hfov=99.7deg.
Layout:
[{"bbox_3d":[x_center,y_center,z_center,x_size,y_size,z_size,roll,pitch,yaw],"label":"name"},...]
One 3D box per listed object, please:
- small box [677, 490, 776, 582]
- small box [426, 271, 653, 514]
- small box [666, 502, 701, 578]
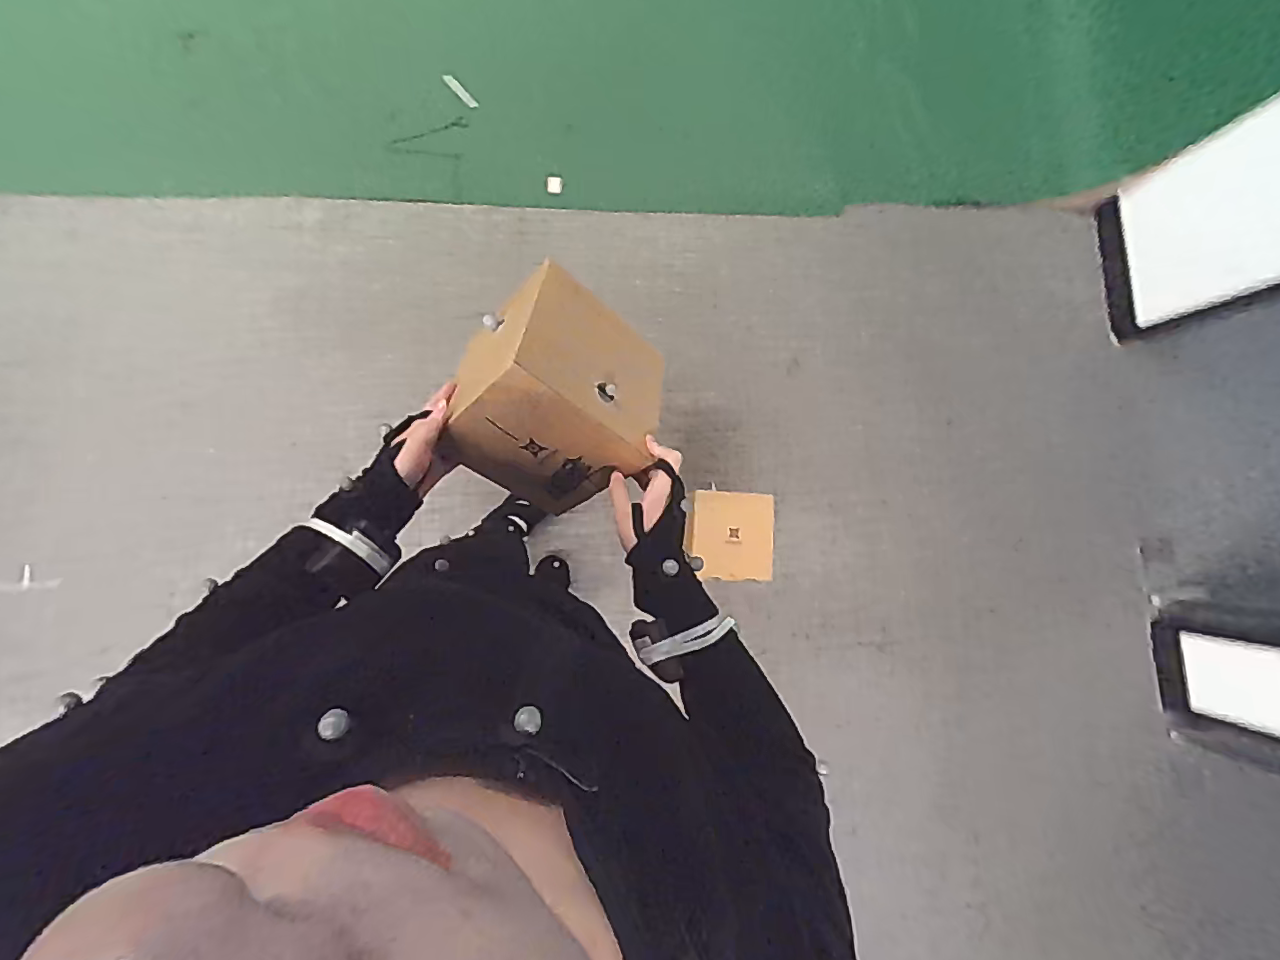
[{"bbox_3d":[0.179,0.118,1.154,0.168,0.176,0.179,4,85,-7],"label":"small box"},{"bbox_3d":[-0.101,-0.093,0.608,0.179,0.168,0.176,33,45,-30],"label":"small box"},{"bbox_3d":[0.158,0.144,1.314,0.168,0.176,0.179,1,85,-7],"label":"small box"}]
